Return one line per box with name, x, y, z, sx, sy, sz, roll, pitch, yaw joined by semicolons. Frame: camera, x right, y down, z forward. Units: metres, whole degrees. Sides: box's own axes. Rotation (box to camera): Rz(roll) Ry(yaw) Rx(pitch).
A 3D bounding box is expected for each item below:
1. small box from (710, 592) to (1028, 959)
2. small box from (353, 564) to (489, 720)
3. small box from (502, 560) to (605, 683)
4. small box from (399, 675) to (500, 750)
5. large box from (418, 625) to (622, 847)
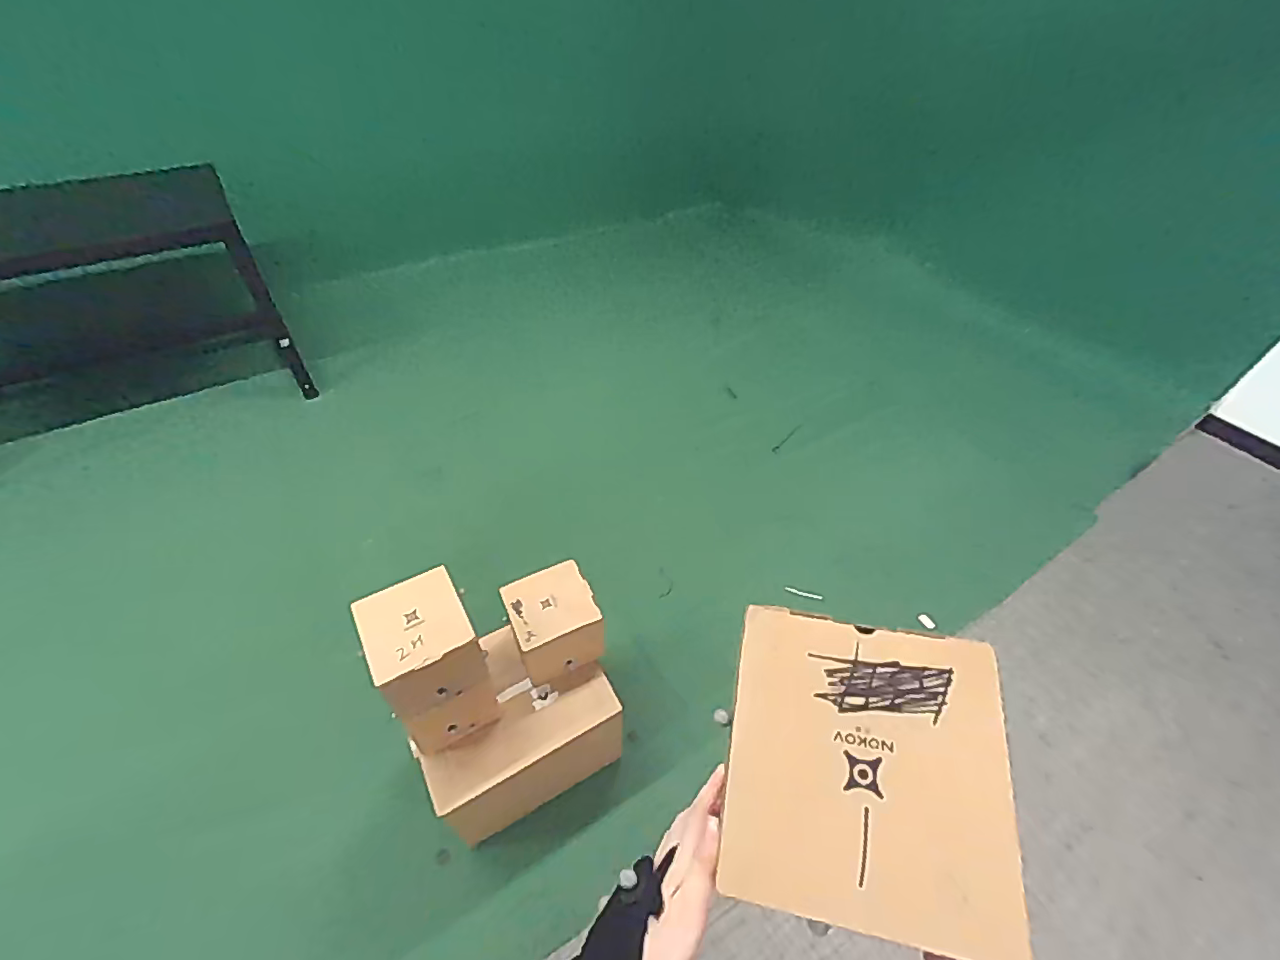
small box;0.144;0.204;0.397;0.168;0.176;0.179;6;60;12
small box;-0.387;0.291;0.970;0.168;0.176;0.179;-23;52;-23
small box;-0.186;0.310;1.184;0.179;0.176;0.168;-18;49;-19
small box;-0.396;0.404;1.089;0.168;0.176;0.179;-22;51;-23
large box;-0.288;0.565;1.275;0.408;0.320;0.320;-22;52;-23
